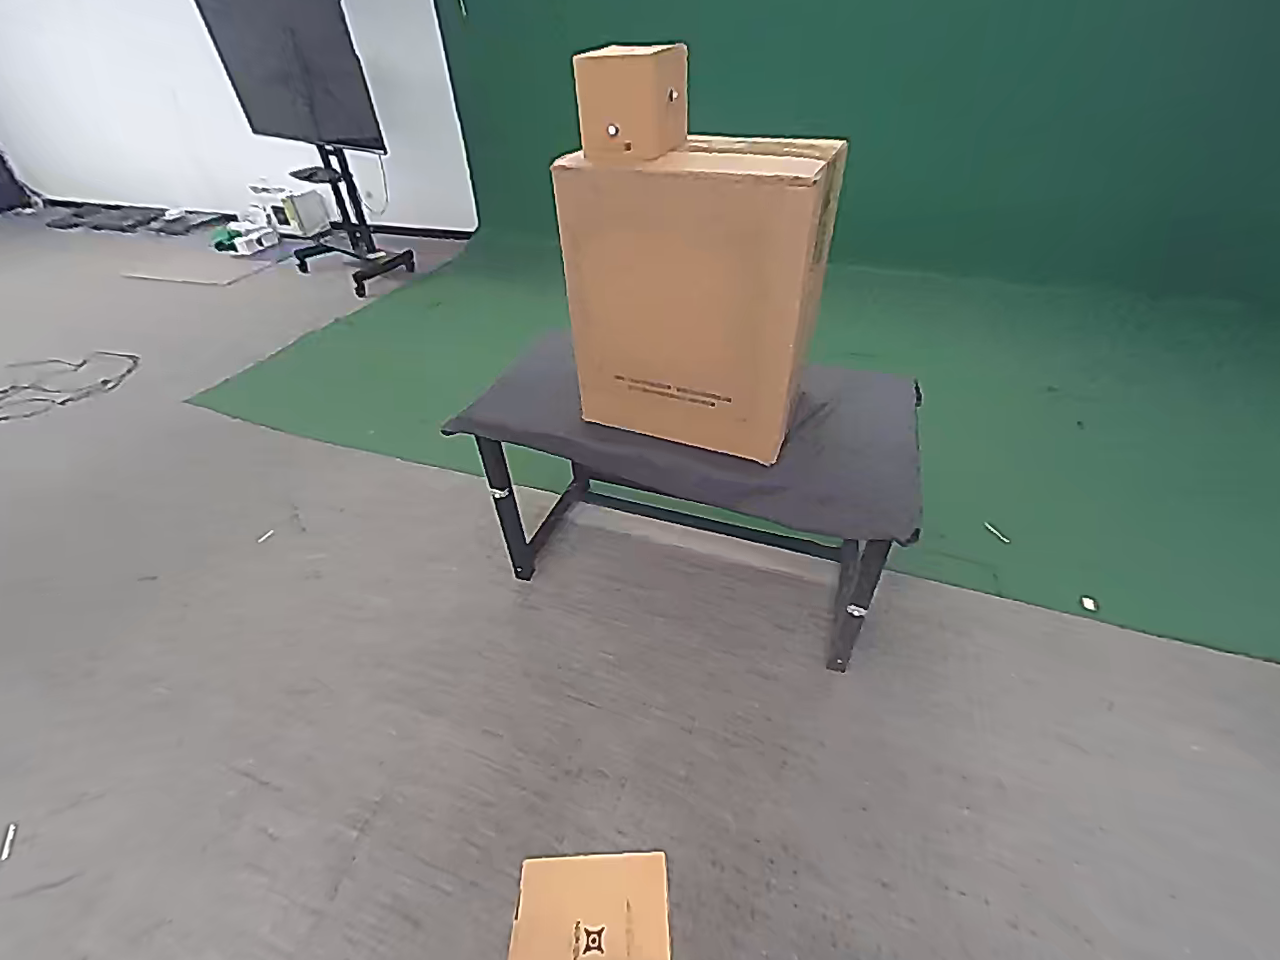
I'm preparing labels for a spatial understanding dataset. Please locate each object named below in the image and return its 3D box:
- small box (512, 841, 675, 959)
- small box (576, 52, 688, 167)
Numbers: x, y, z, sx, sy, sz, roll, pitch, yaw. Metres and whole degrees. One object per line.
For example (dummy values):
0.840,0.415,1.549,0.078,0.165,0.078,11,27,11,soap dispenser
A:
-0.047,0.559,0.645,0.179,0.176,0.168,-3,37,-1,small box
-0.010,-0.755,1.100,0.168,0.176,0.179,14,45,20,small box
